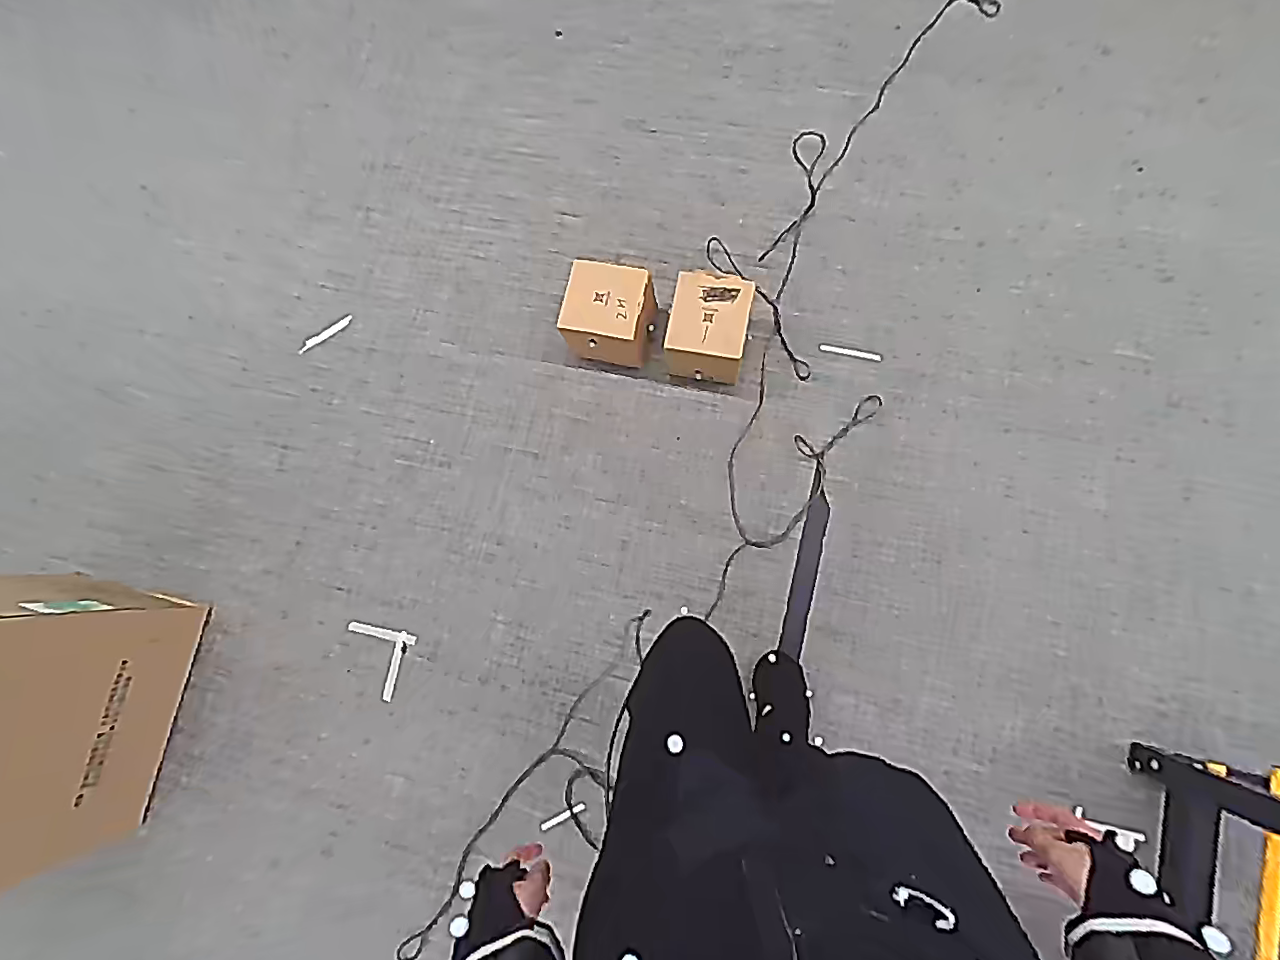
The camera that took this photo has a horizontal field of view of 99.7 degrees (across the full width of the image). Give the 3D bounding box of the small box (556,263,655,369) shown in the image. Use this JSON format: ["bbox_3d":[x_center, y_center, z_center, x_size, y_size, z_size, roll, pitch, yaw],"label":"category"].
[{"bbox_3d":[-0.072,-0.372,1.250,0.179,0.176,0.168,13,83,9],"label":"small box"}]

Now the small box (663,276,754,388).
[{"bbox_3d":[0.153,-0.327,1.216,0.168,0.176,0.179,11,83,8],"label":"small box"}]
